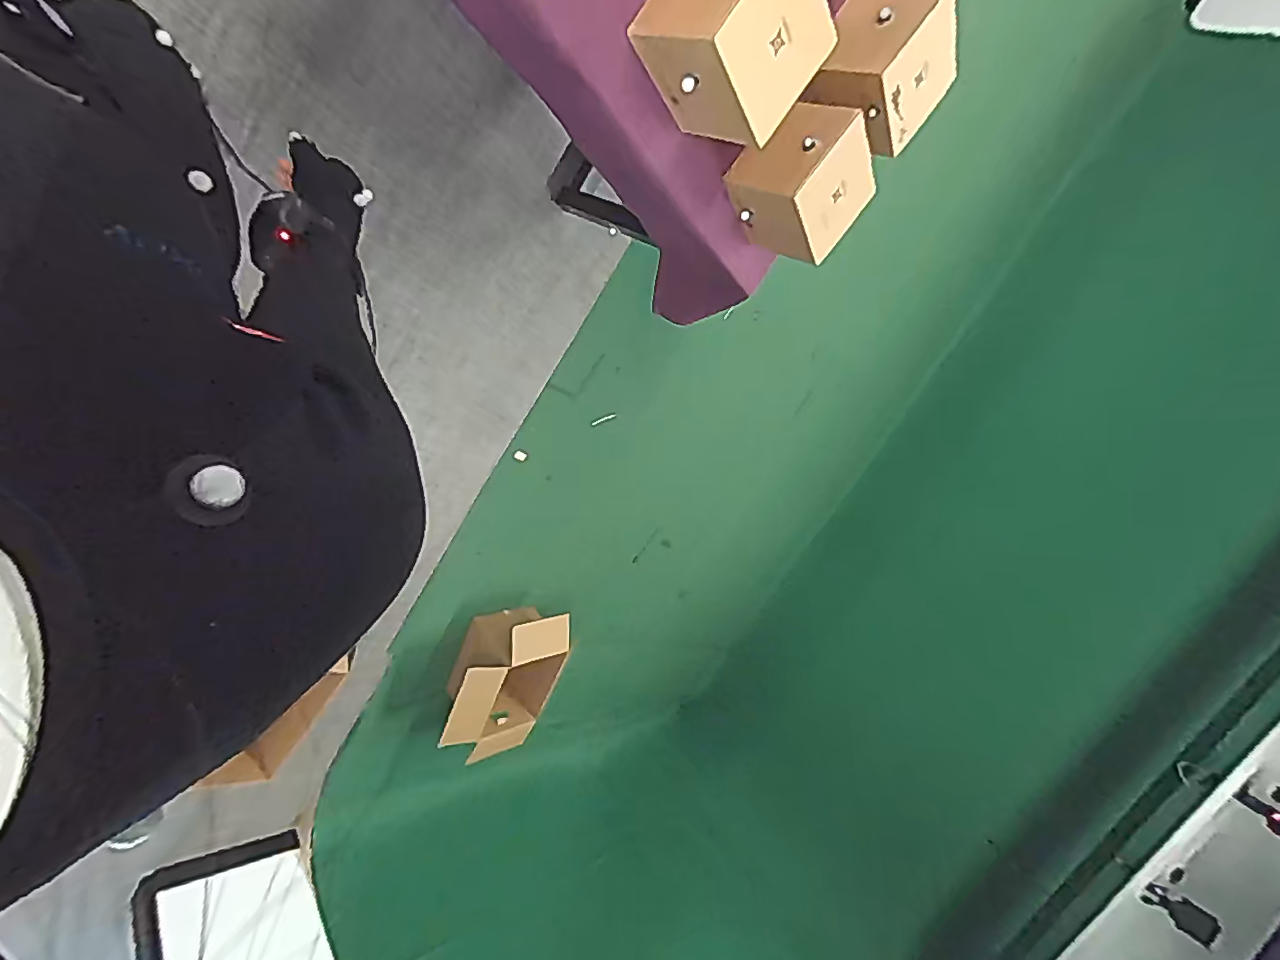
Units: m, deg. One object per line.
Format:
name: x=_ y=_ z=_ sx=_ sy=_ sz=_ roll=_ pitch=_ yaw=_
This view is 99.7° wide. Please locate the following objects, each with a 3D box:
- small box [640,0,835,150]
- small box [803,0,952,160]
small box: x=0.124 y=-0.590 z=0.726 sx=0.179 sy=0.176 sz=0.168 roll=-53 pitch=144 yaw=5
small box: x=0.408 y=-0.702 z=0.936 sx=0.179 sy=0.176 sz=0.168 roll=-53 pitch=144 yaw=3
